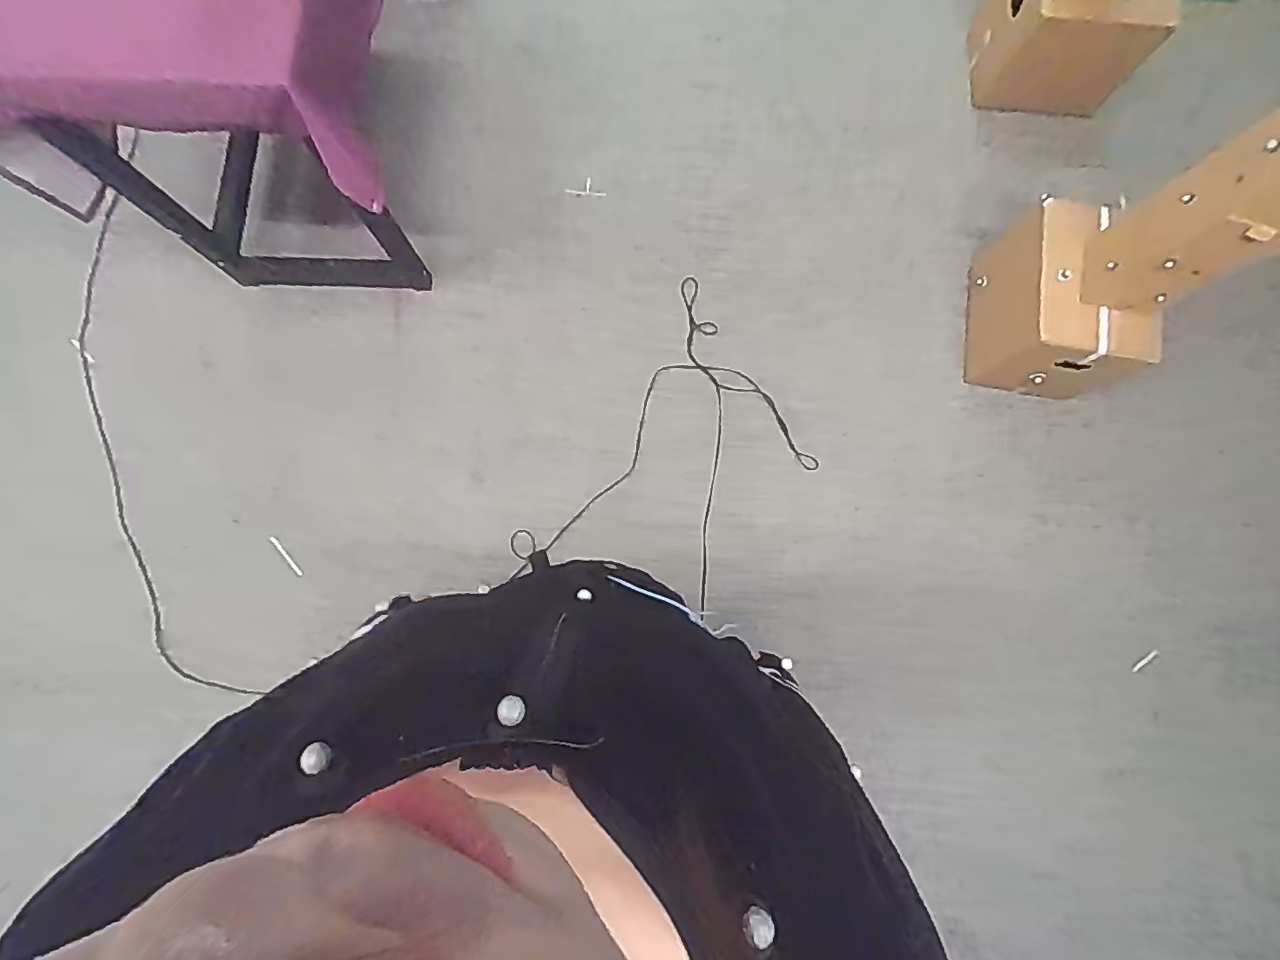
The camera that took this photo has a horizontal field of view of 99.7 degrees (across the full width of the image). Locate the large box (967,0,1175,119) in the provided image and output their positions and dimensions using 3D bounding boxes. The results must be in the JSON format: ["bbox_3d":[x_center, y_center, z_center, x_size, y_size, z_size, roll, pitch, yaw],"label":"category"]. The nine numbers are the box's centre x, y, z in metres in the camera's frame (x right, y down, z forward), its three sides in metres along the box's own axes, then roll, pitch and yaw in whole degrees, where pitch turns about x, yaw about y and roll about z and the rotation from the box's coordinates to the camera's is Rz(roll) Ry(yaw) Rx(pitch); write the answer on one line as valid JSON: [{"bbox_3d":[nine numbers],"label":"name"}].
[{"bbox_3d":[1.323,-1.401,1.700,0.408,0.320,0.320,4,80,-2],"label":"large box"}]

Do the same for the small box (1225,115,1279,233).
[{"bbox_3d":[1.221,-0.568,0.970,0.179,0.176,0.168,14,80,-1],"label":"small box"}]

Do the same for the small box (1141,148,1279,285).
[{"bbox_3d":[1.206,-0.539,1.131,0.168,0.176,0.179,15,79,-2],"label":"small box"}]

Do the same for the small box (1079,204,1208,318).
[{"bbox_3d":[1.200,-0.514,1.293,0.168,0.176,0.179,14,80,-2],"label":"small box"}]
